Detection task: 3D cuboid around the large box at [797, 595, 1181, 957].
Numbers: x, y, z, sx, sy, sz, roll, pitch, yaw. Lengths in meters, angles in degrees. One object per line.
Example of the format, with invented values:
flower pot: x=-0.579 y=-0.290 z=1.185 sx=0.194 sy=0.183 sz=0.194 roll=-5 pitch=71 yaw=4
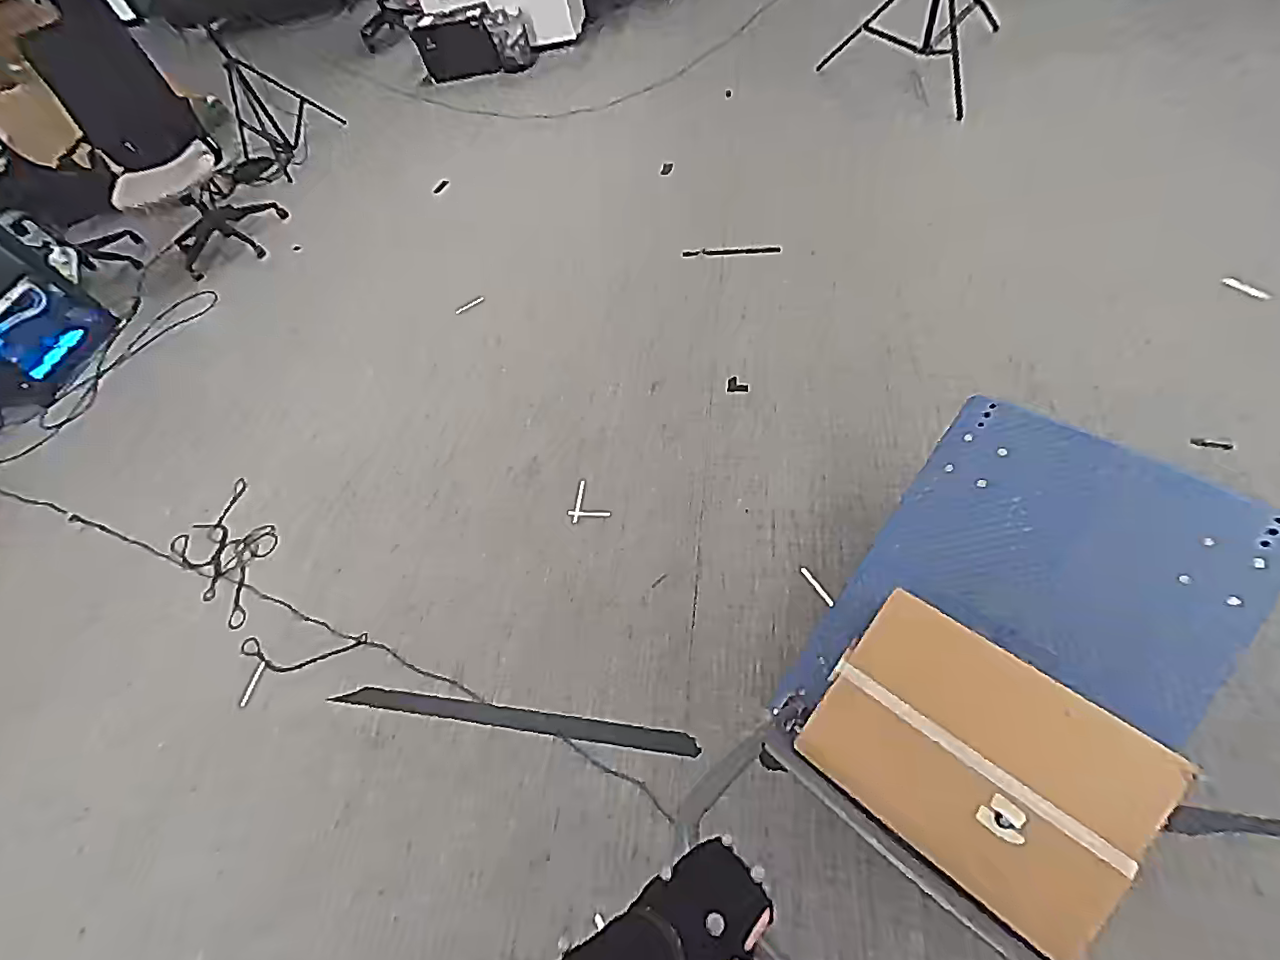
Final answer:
large box: x=0.538 y=0.446 z=0.930 sx=0.408 sy=0.320 sz=0.320 roll=33 pitch=89 yaw=28
